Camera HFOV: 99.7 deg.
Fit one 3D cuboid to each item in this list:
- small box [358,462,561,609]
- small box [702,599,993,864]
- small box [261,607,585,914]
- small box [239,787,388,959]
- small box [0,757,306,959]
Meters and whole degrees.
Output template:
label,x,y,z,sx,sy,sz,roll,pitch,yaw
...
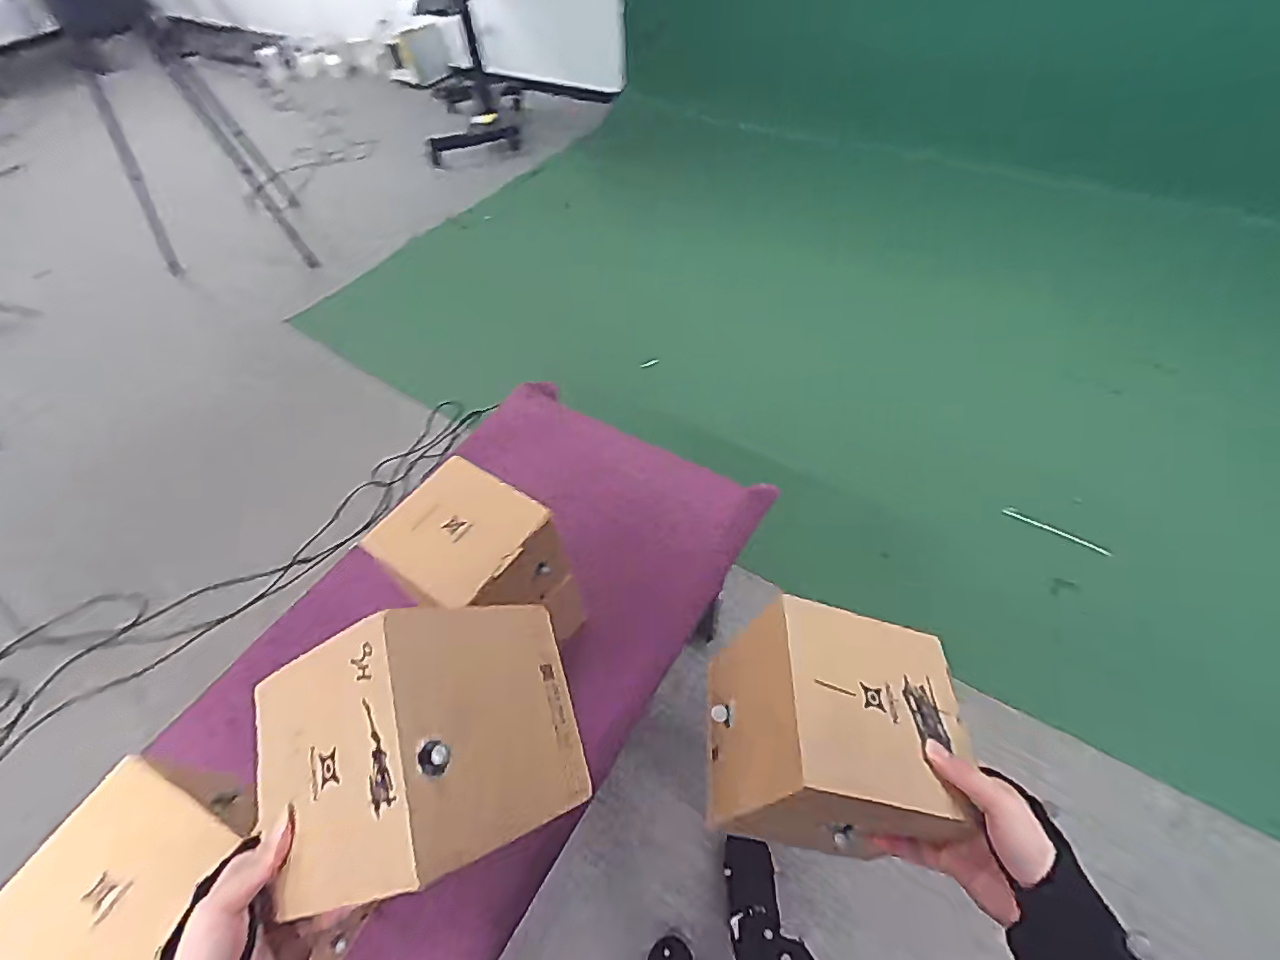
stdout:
label,x,y,z,sx,sy,sz,roll,pitch,yaw
small box,-0.229,0.112,0.734,0.179,0.176,0.168,27,59,22
small box,0.174,0.244,0.512,0.179,0.176,0.168,18,44,-9
small box,-0.174,0.211,0.439,0.179,0.176,0.168,-30,65,25
small box,-0.445,0.510,0.653,0.179,0.176,0.168,21,57,19
small box,-0.457,0.407,0.527,0.179,0.176,0.168,19,56,17
